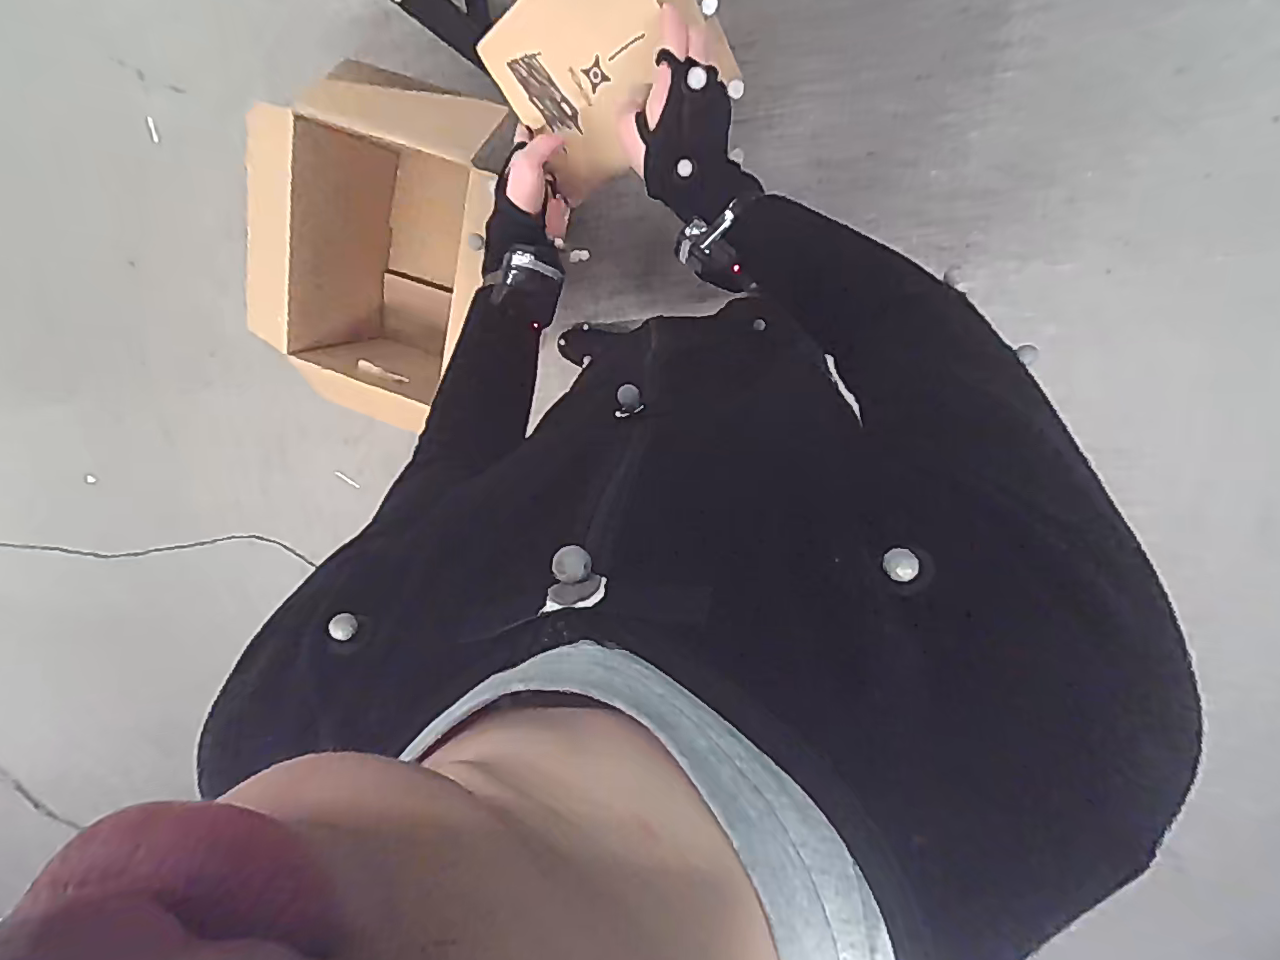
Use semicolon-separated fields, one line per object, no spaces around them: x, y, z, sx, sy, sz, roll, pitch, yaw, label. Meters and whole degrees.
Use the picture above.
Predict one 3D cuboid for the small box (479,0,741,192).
-0.019;-0.435;0.551;0.179;0.176;0.168;-15;124;35;small box
